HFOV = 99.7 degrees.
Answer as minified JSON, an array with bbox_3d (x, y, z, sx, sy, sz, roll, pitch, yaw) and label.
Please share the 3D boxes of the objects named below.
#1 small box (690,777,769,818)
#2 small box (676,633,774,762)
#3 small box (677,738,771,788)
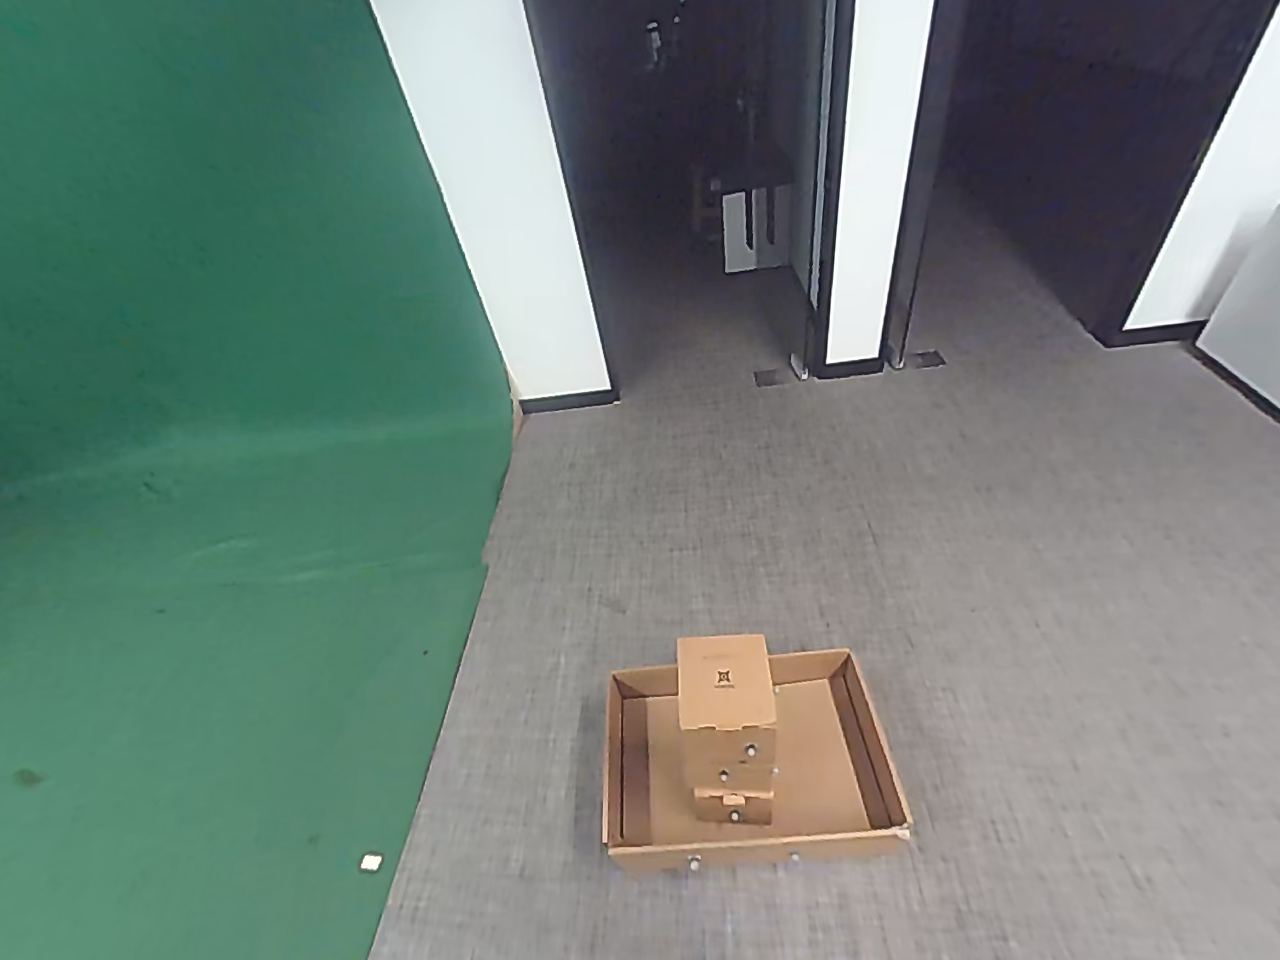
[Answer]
[{"bbox_3d":[0.205,0.648,1.228,0.168,0.176,0.179,-2,43,9],"label":"small box"},{"bbox_3d":[0.156,0.409,1.011,0.168,0.176,0.179,-3,41,6],"label":"small box"},{"bbox_3d":[0.179,0.521,1.126,0.179,0.176,0.168,-2,42,12],"label":"small box"}]
